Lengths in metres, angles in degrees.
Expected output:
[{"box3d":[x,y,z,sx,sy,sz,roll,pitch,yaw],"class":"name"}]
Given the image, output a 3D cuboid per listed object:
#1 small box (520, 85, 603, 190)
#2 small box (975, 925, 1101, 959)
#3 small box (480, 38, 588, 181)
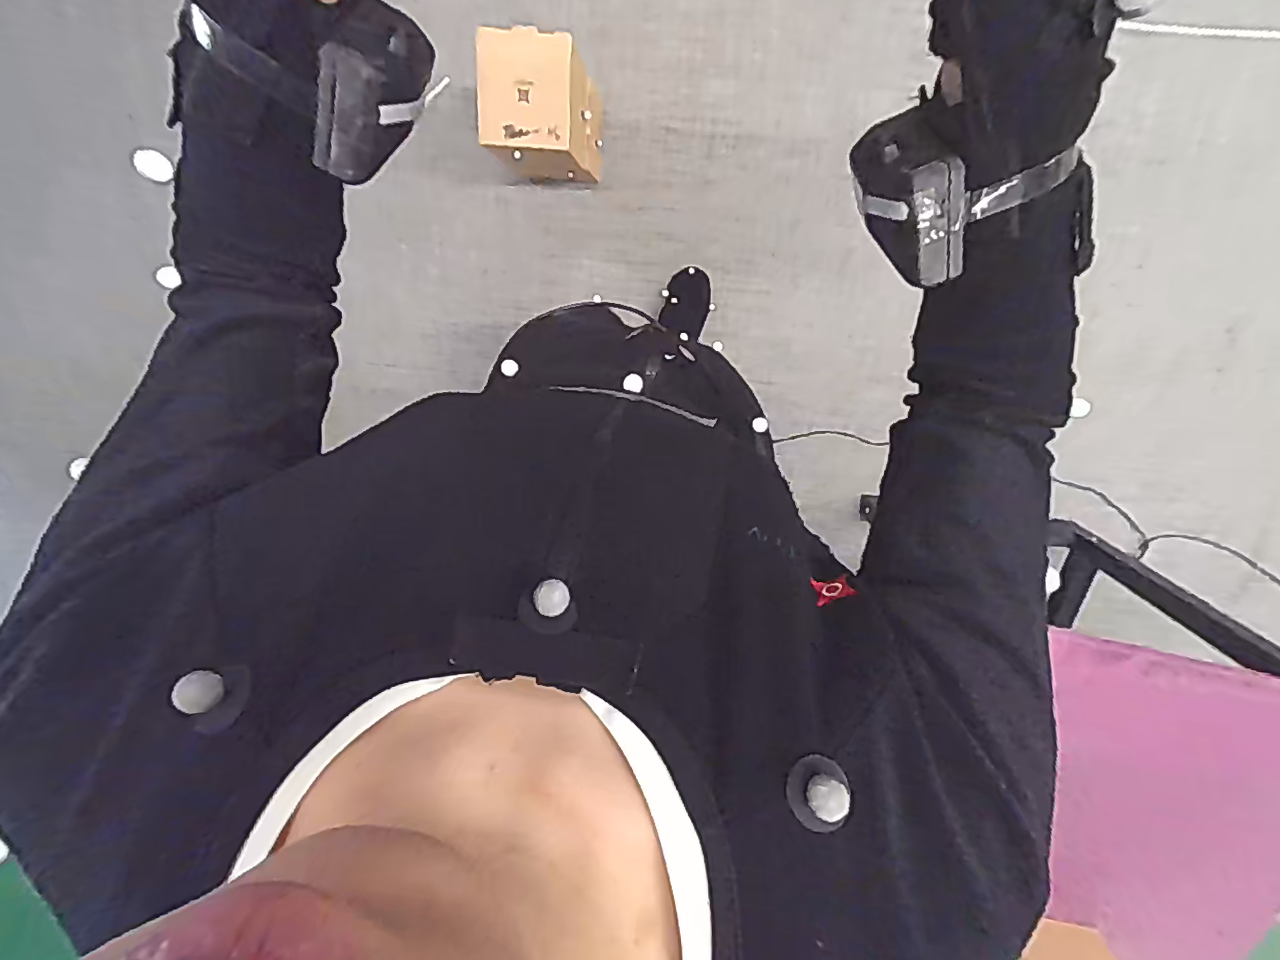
[{"box3d":[-0.183,-0.741,1.176,0.179,0.176,0.168,6,109,2],"class":"small box"},{"box3d":[0.699,0.897,0.906,0.179,0.176,0.168,11,108,0],"class":"small box"},{"box3d":[-0.193,-0.687,1.021,0.168,0.176,0.179,6,108,2],"class":"small box"}]
